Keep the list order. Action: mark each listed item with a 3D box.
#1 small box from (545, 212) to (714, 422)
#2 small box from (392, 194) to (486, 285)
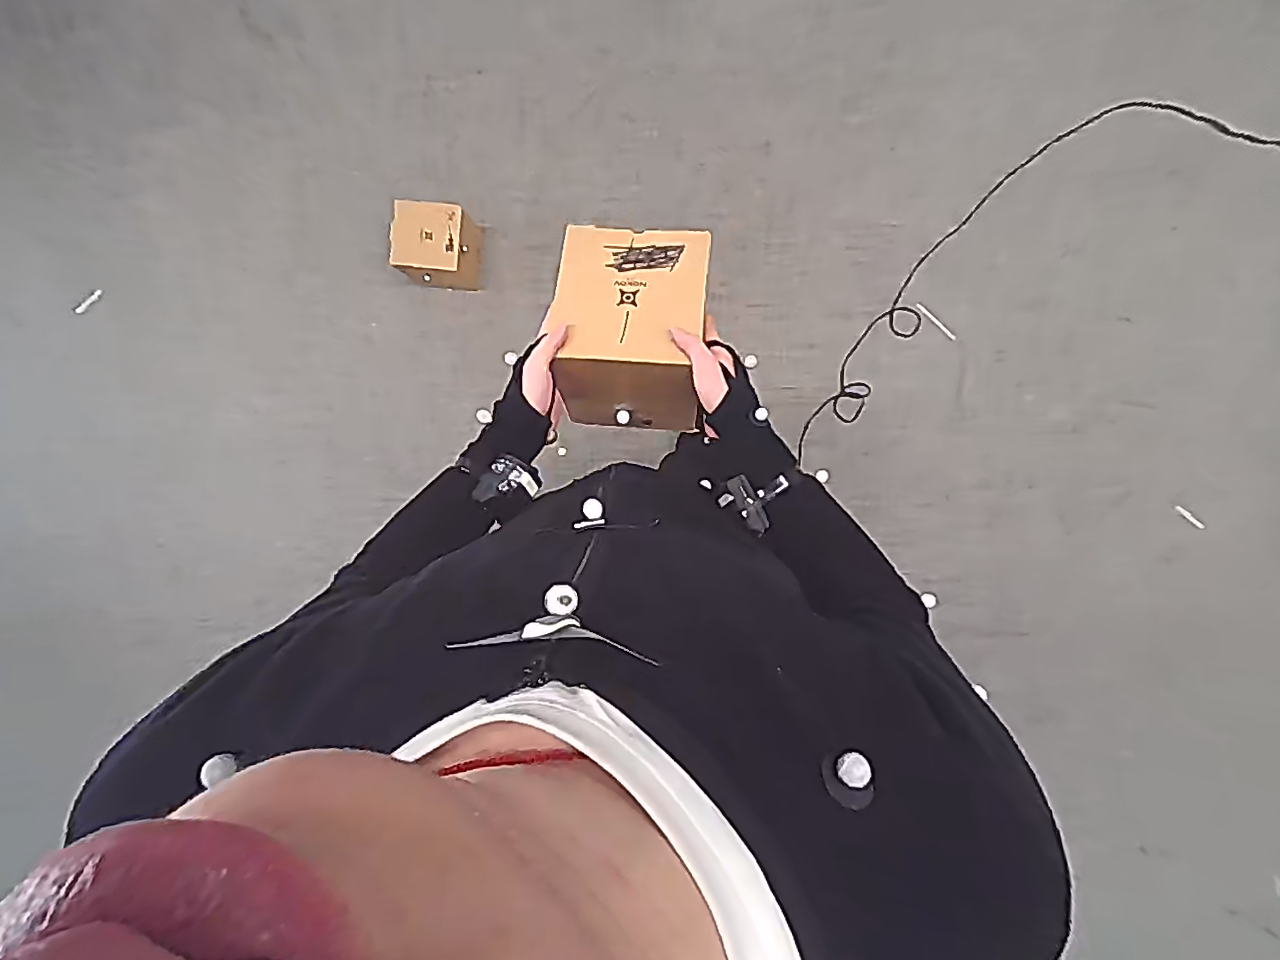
[{"bbox_3d":[-0.004,-0.190,0.657,0.168,0.176,0.179,5,72,6],"label":"small box"},{"bbox_3d":[-0.530,-0.635,1.446,0.179,0.176,0.168,7,93,2],"label":"small box"}]
